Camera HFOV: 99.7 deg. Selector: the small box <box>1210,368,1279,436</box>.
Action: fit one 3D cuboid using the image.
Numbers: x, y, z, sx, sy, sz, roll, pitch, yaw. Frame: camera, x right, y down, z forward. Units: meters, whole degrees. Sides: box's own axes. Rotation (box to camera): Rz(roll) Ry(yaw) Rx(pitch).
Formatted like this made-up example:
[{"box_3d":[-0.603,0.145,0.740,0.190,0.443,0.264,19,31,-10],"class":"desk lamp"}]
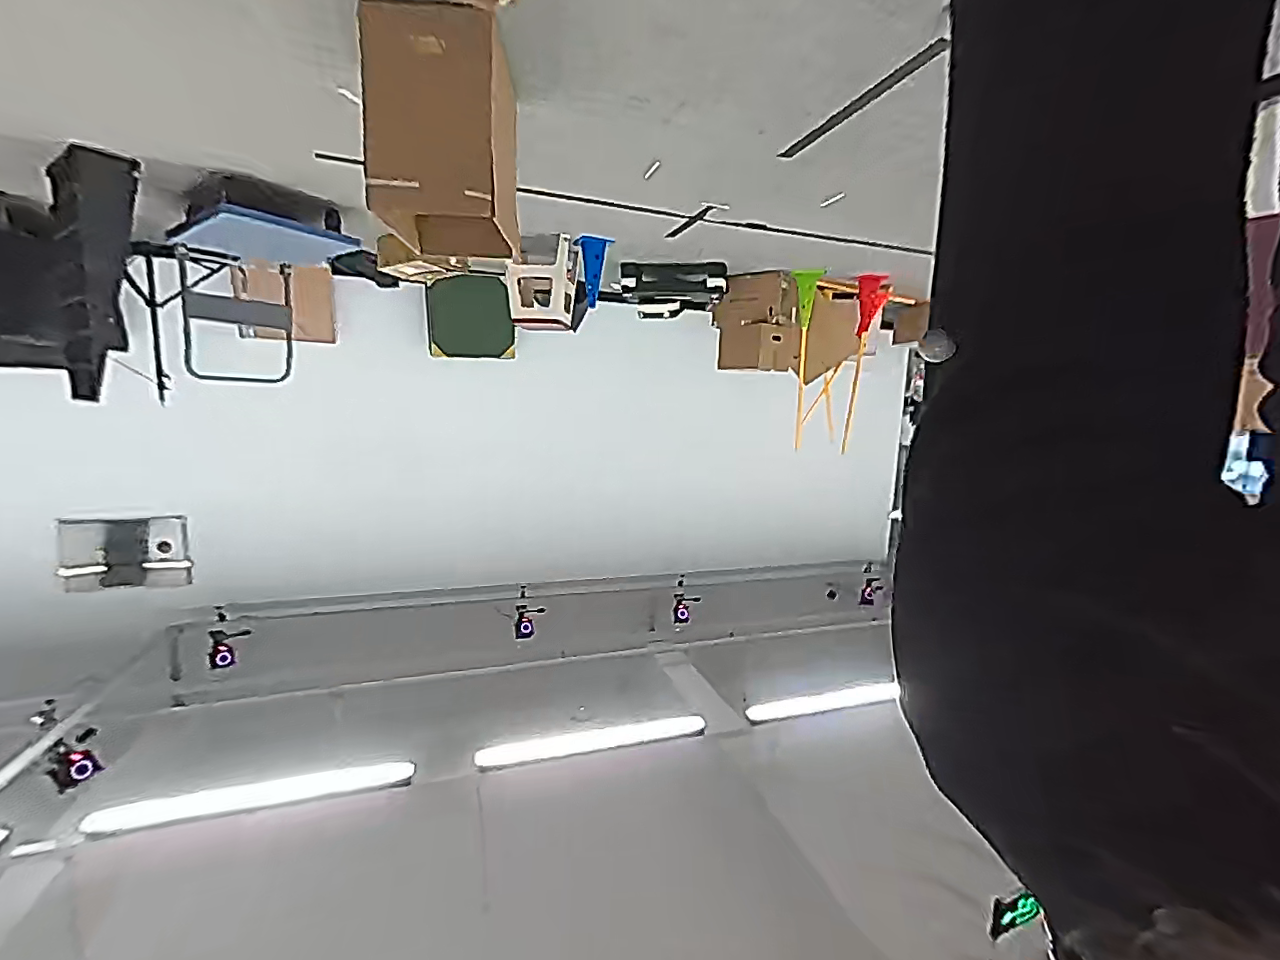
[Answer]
[{"box_3d":[1.624,-0.198,1.375,0.179,0.176,0.168,0,-171,-14],"class":"small box"}]
